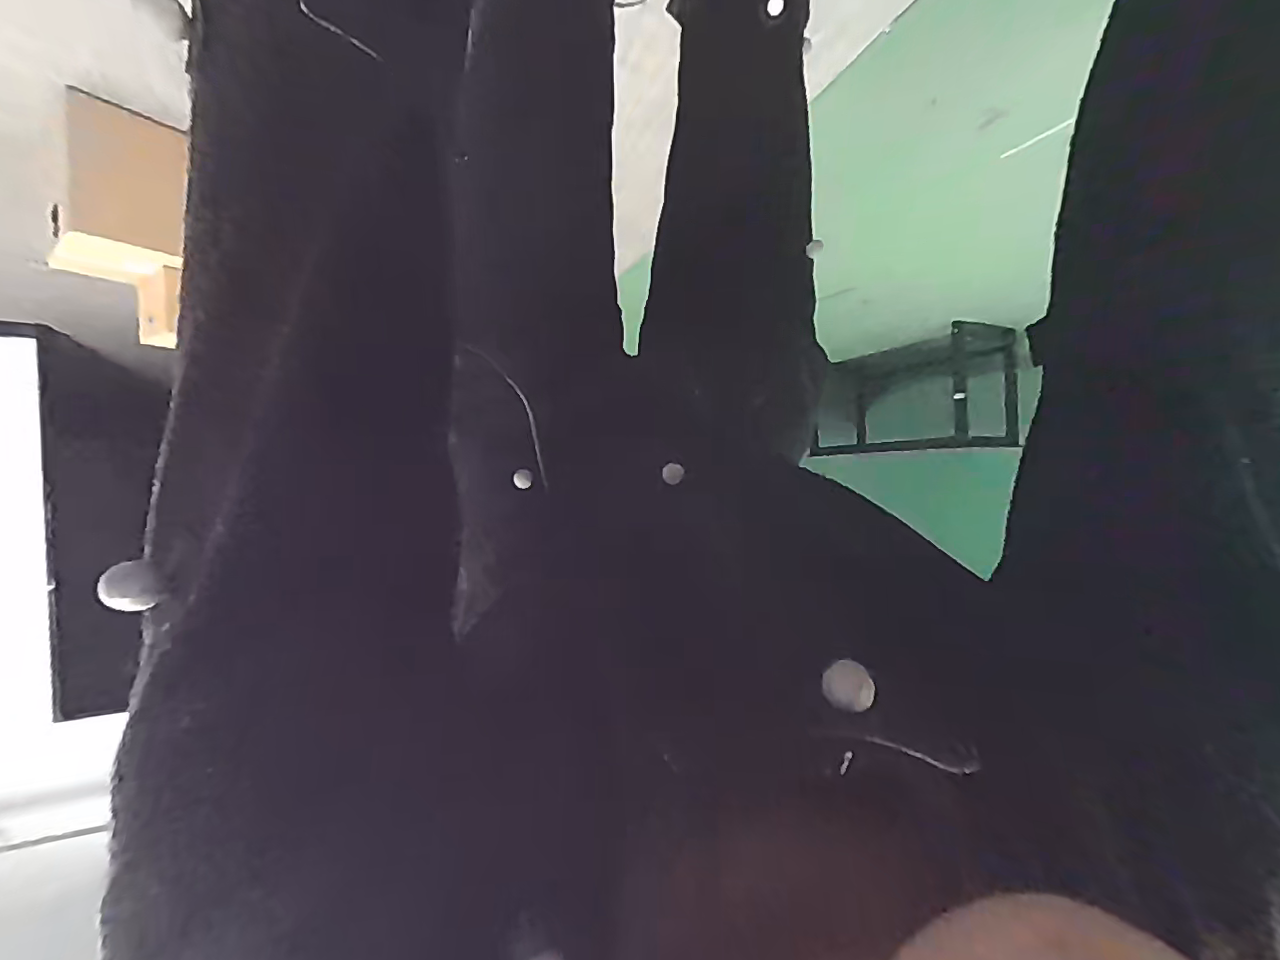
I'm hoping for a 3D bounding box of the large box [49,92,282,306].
[{"bbox_3d":[-1.199,-0.676,1.385,0.320,0.320,0.408,-2,178,37],"label":"large box"}]

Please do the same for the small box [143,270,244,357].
[{"bbox_3d":[-1.175,-0.433,1.426,0.179,0.176,0.168,0,180,32],"label":"small box"}]
